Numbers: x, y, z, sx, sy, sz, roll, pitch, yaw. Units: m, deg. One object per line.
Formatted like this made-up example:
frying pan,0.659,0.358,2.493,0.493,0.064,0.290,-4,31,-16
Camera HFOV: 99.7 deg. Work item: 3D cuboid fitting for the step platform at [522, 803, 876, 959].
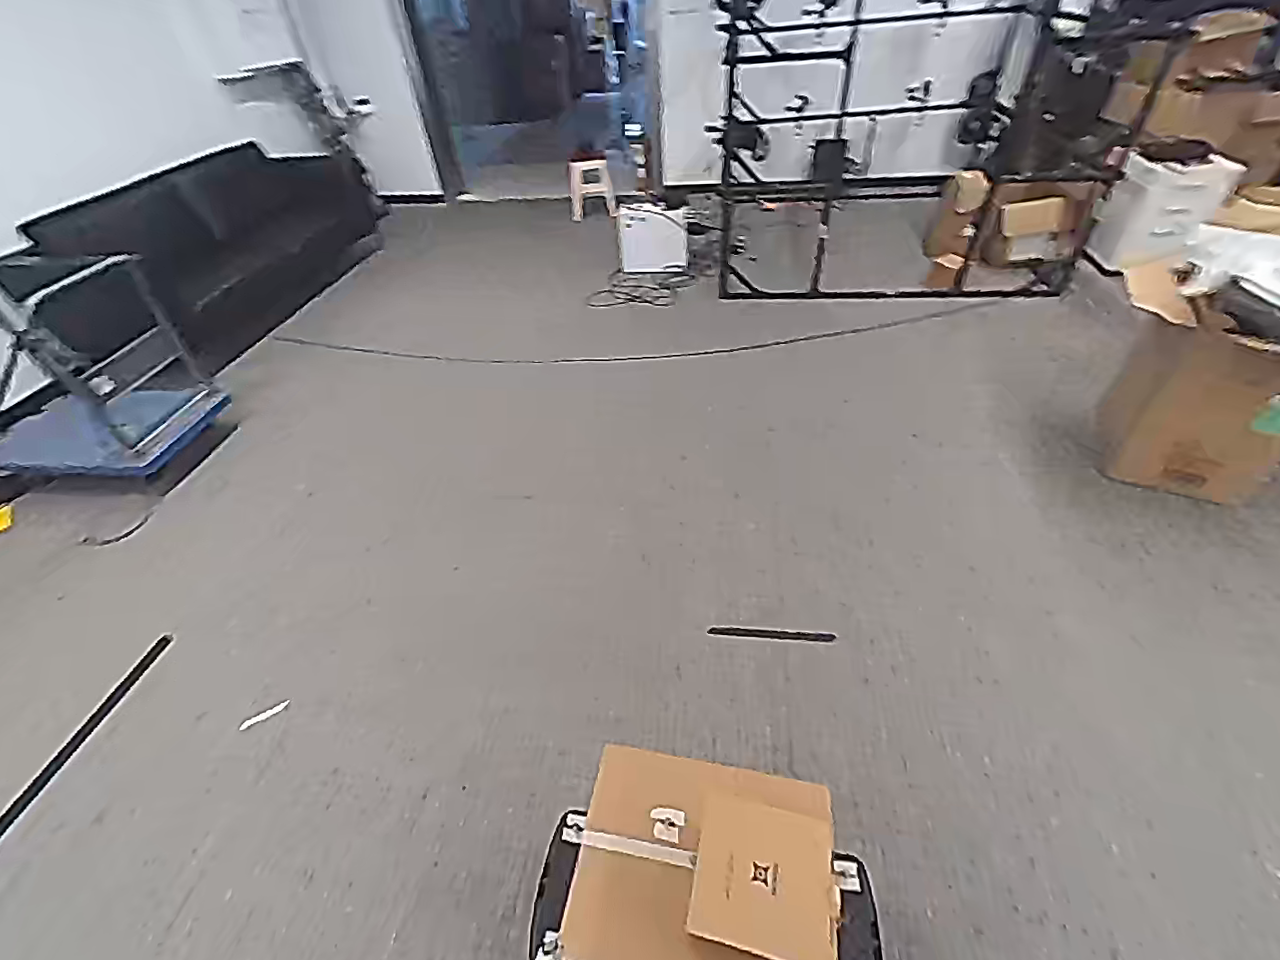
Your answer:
step platform,0.113,0.906,1.102,0.684,0.204,0.286,6,43,14

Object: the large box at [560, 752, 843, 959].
large box,0.118,0.723,0.947,0.408,0.320,0.320,4,42,12

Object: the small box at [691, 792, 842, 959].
small box,0.173,0.567,0.748,0.179,0.176,0.168,7,44,15
